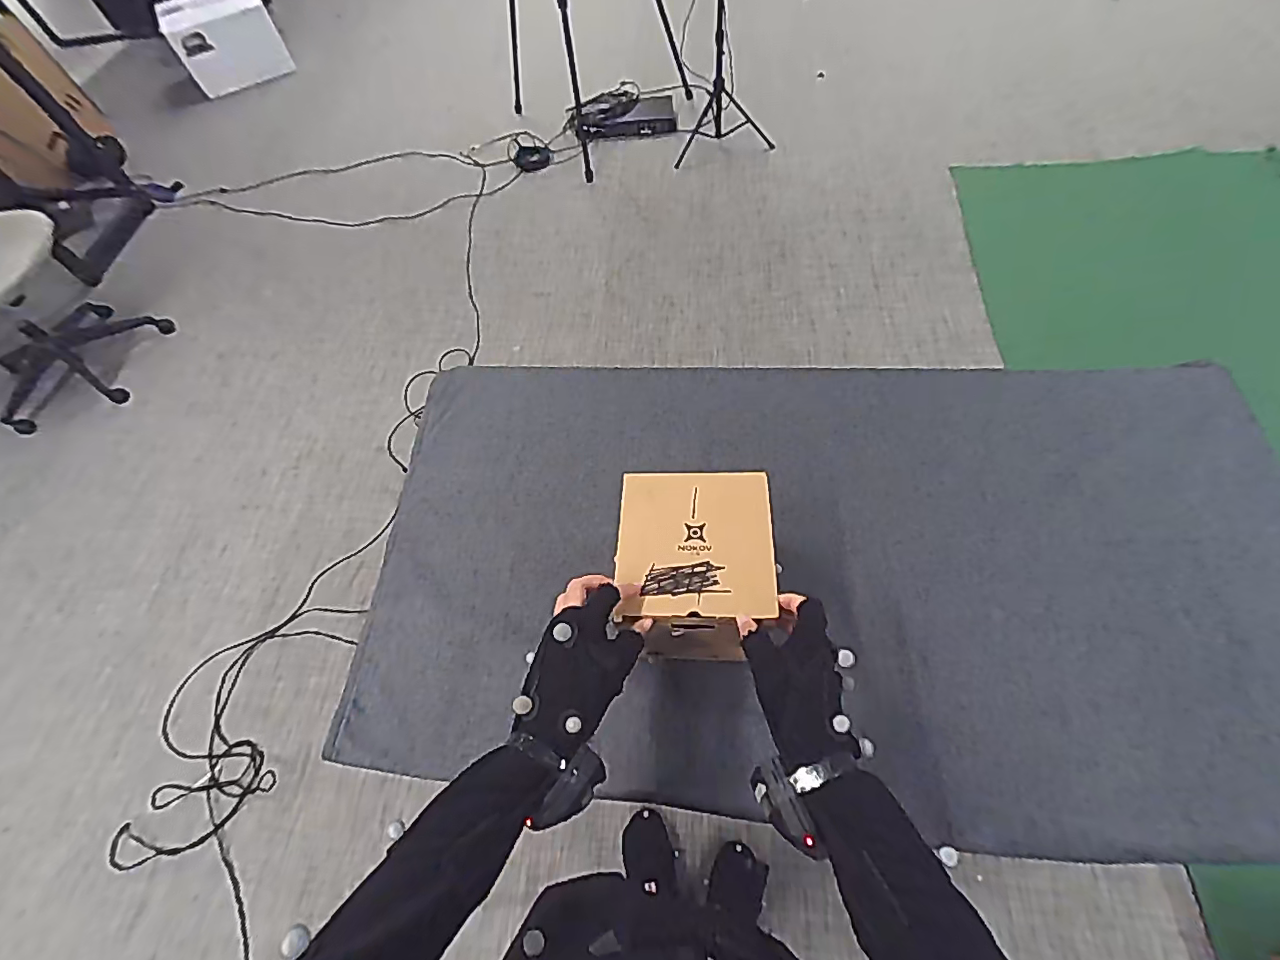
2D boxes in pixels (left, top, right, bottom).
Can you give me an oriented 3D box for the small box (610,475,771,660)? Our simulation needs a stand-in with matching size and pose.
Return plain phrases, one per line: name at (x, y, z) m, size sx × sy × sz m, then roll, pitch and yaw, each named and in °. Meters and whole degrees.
small box at (0.064, 0.110, 0.647) m, size 0.168 × 0.176 × 0.179 m, roll 0°, pitch 59°, yaw 7°
